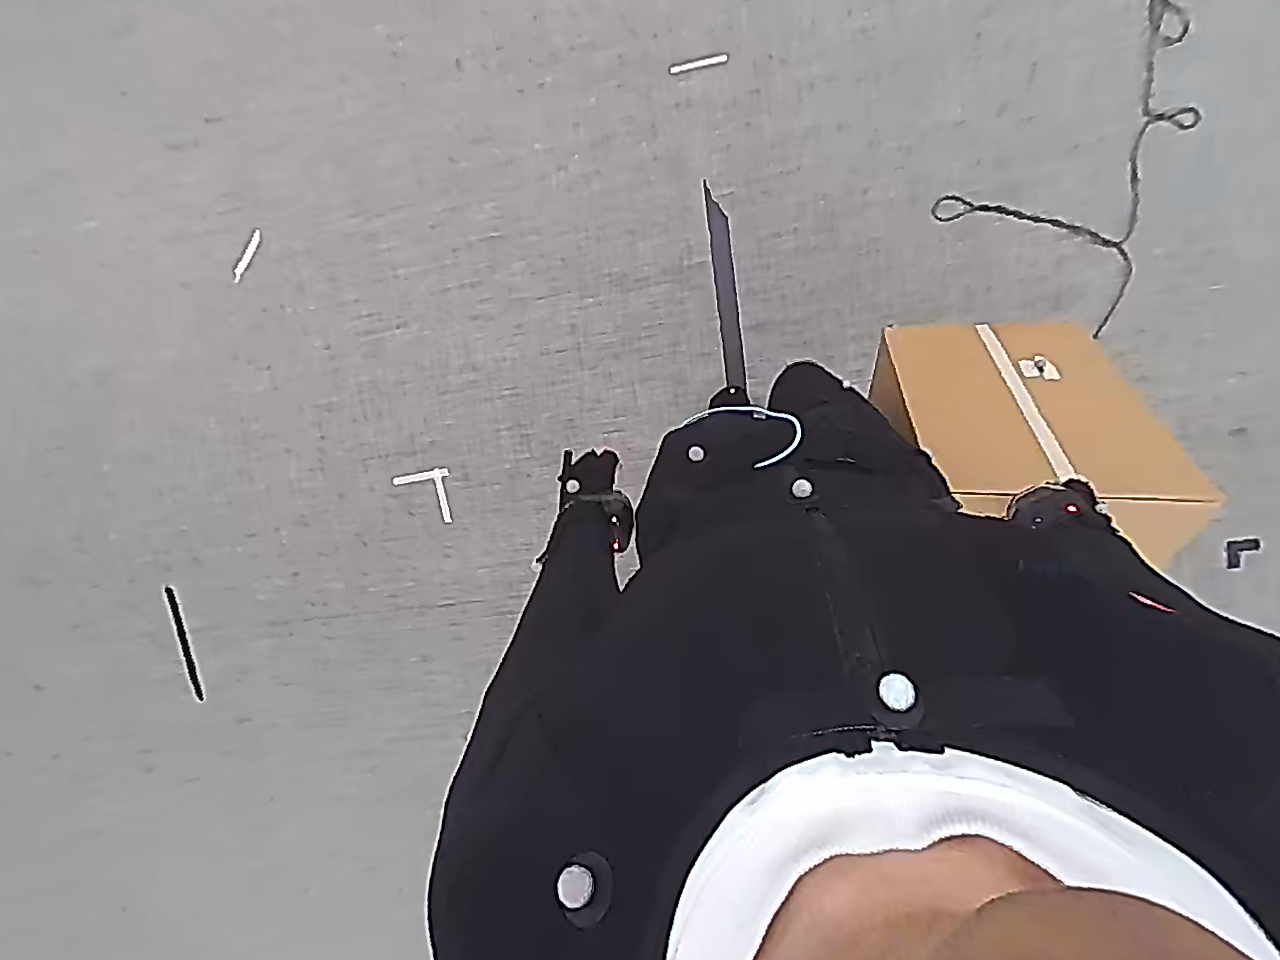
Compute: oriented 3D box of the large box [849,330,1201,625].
[{"bbox_3d":[0.562,-0.012,0.910,0.320,0.408,0.320,3,134,8],"label":"large box"}]
